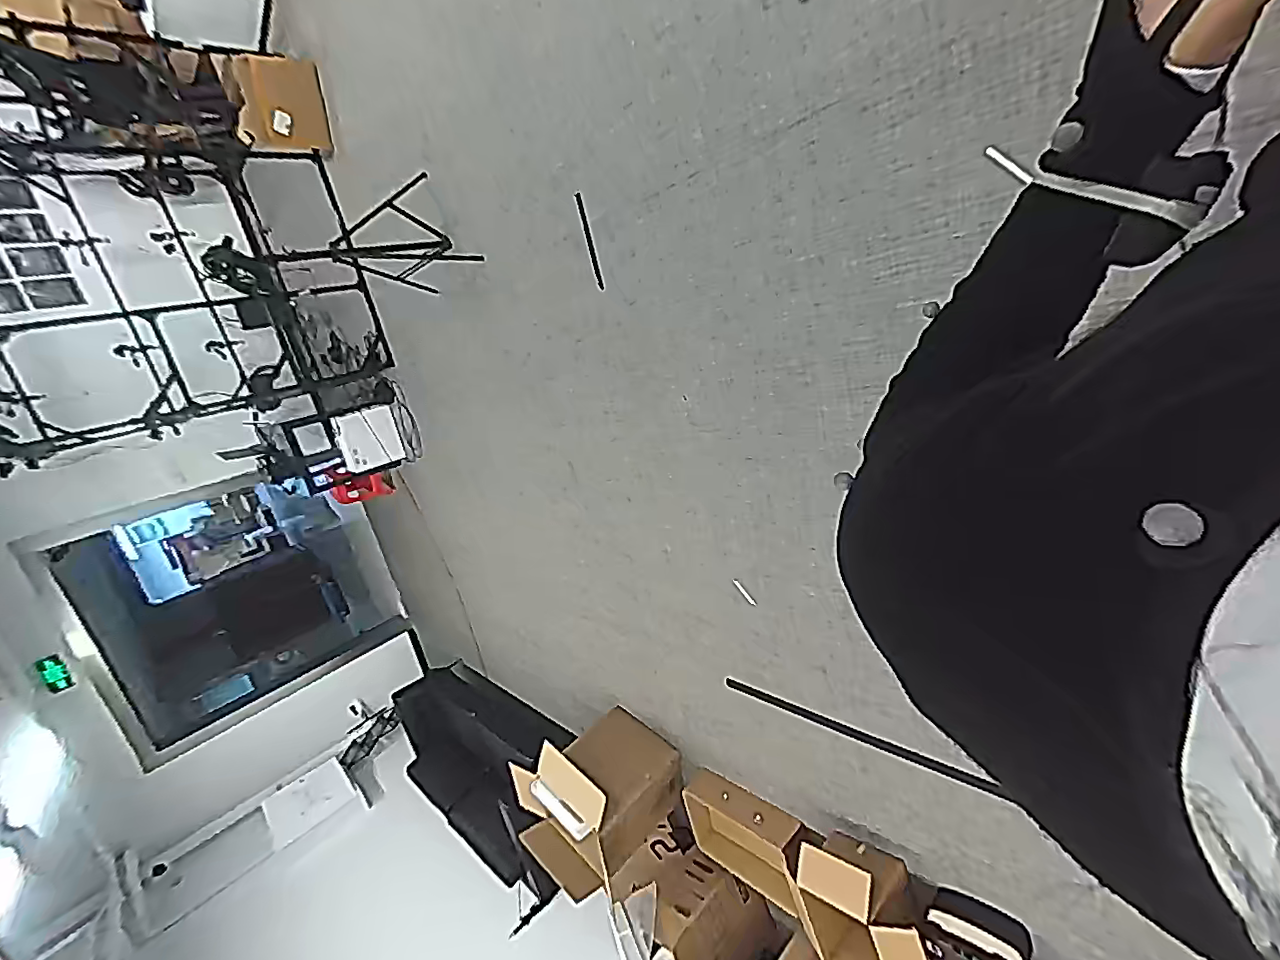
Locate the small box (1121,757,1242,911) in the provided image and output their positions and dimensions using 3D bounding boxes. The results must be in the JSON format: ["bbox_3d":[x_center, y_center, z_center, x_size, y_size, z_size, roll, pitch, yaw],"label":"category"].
[{"bbox_3d":[1.150,0.740,1.150,0.168,0.176,0.179,6,114,47],"label":"small box"}]

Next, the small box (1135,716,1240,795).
[{"bbox_3d":[1.267,0.689,1.256,0.168,0.176,0.179,4,112,48],"label":"small box"}]
